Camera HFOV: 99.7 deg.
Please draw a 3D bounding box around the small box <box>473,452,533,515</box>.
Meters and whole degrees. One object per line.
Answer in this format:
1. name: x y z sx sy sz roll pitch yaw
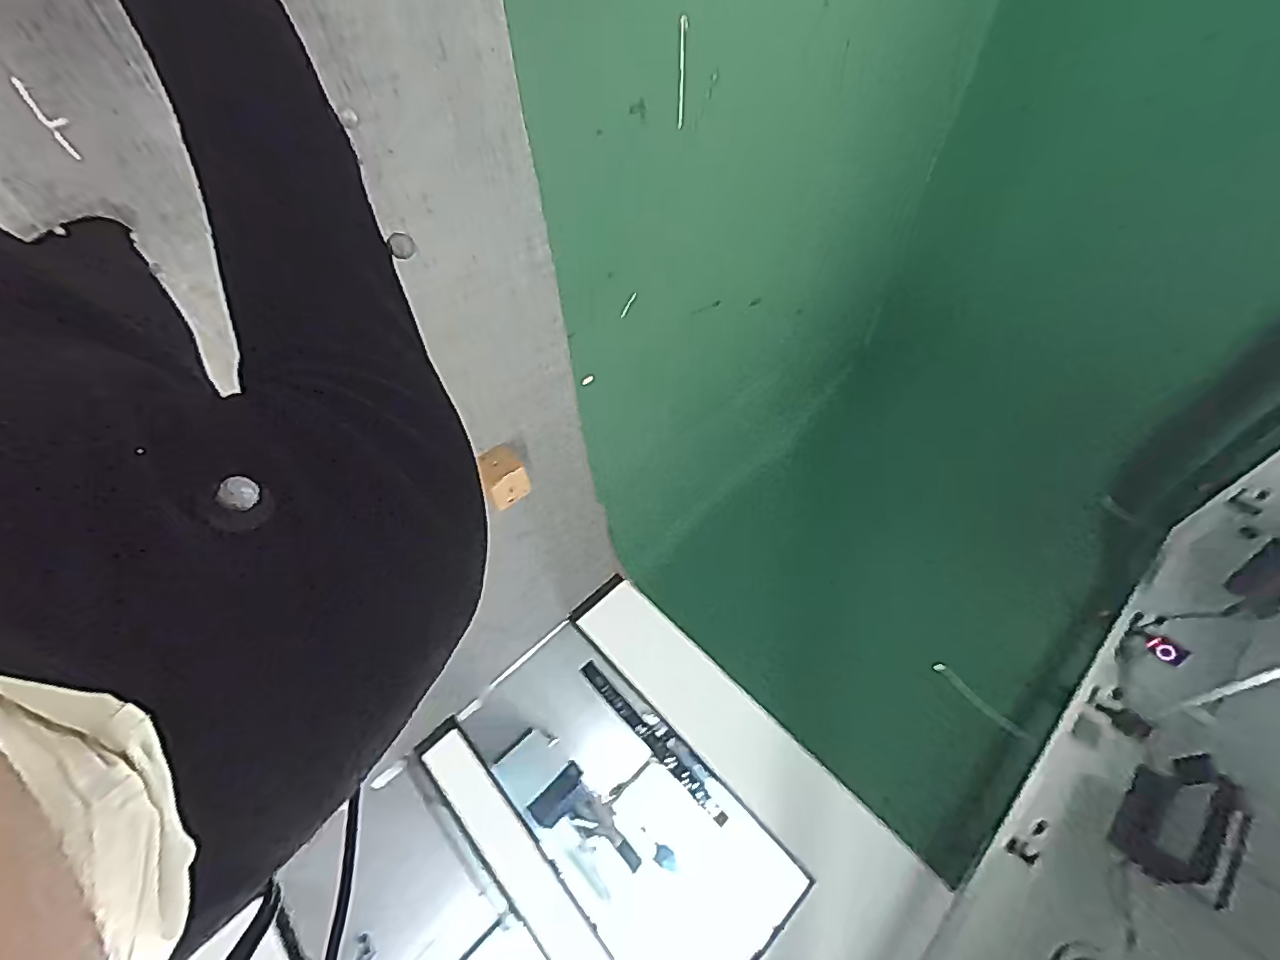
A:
1. small box: -0.576 0.006 2.270 0.168 0.176 0.179 -36 148 -24
